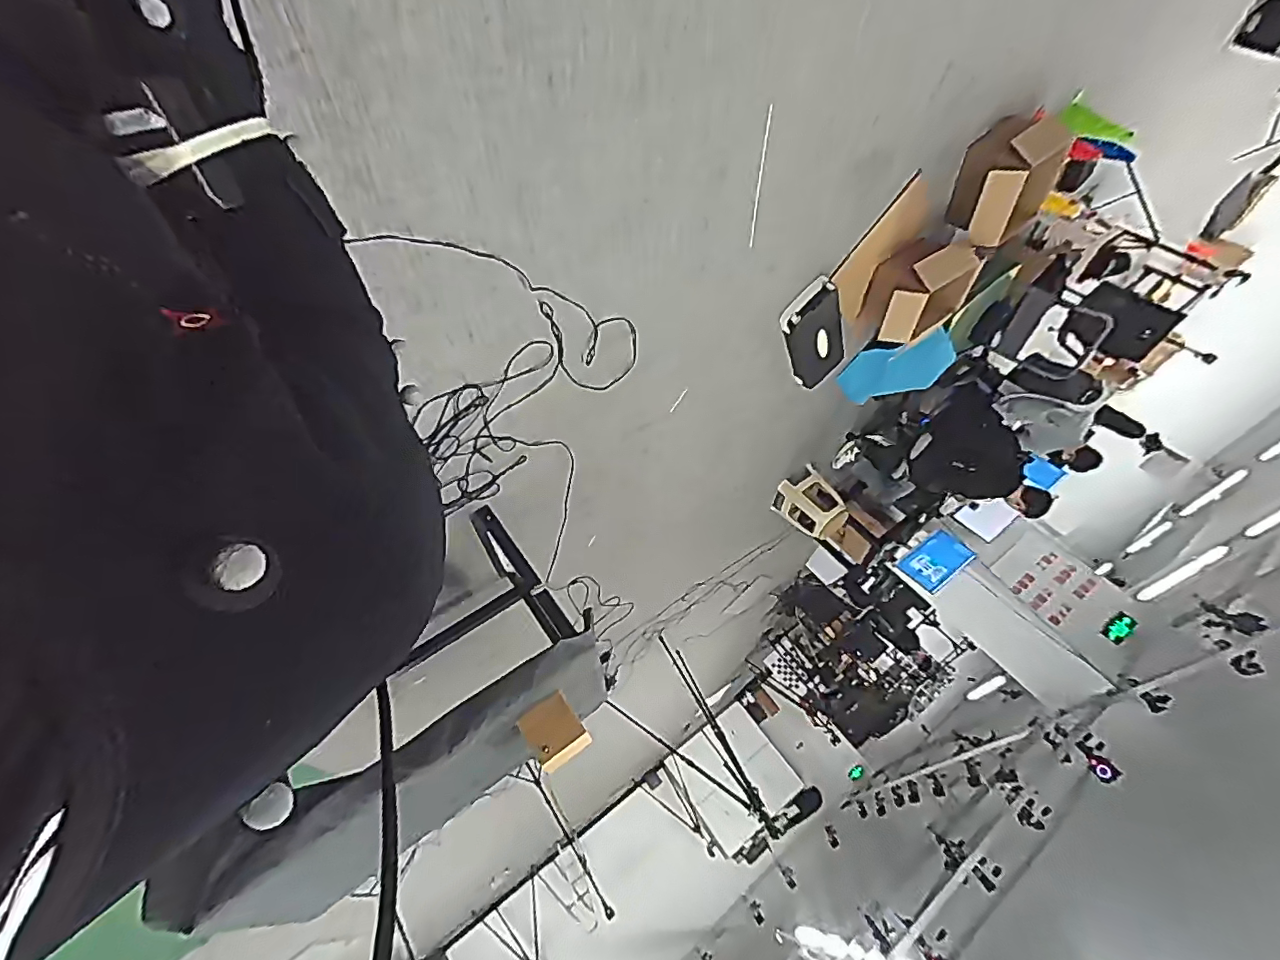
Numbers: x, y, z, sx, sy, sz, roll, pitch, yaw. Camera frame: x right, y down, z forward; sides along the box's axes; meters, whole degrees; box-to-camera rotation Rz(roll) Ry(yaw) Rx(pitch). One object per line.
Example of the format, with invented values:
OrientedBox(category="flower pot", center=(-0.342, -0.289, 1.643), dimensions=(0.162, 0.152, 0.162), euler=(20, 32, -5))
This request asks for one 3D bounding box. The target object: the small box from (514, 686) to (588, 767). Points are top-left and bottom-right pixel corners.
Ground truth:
OrientedBox(category="small box", center=(-0.298, 0.825, 1.816), dimensions=(0.179, 0.176, 0.168), euler=(-31, 150, -18))
